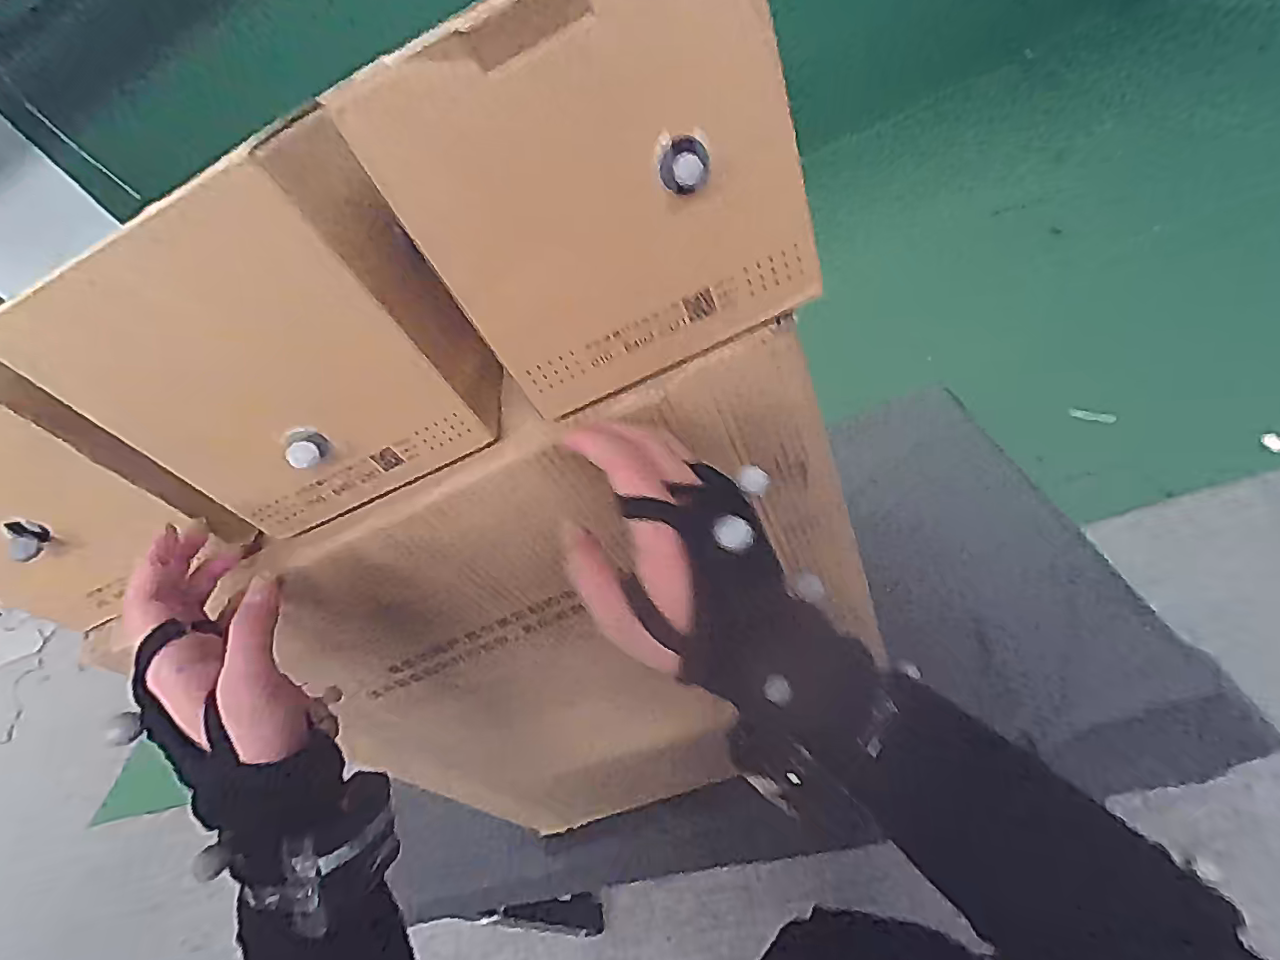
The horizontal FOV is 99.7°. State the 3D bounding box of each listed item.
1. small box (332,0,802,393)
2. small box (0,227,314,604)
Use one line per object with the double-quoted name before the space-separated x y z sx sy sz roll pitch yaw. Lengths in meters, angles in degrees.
"small box" -0.024 -0.171 0.303 0.168 0.176 0.179 -22 43 8
"small box" -0.373 -0.033 0.380 0.168 0.176 0.179 -23 44 12
